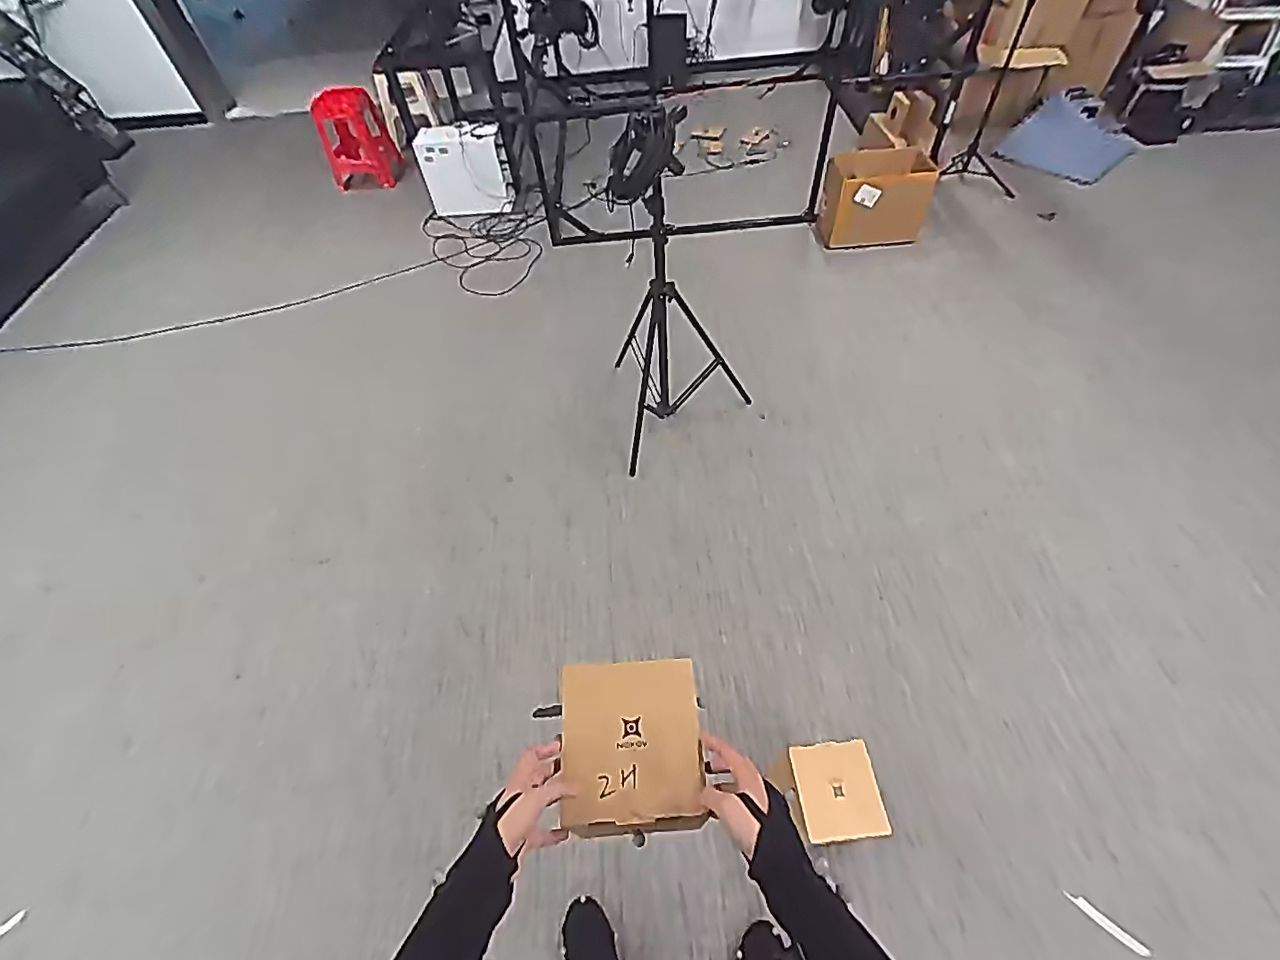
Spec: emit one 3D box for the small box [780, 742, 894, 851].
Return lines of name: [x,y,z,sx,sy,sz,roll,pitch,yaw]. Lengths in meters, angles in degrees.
small box: [0.409,0.679,1.154,0.168,0.176,0.179,-6,52,-1]

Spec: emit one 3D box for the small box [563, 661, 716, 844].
small box: [-0.002,0.347,0.685,0.168,0.176,0.179,-4,53,0]

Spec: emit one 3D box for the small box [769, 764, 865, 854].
small box: [0.415,0.777,1.284,0.168,0.176,0.179,-7,52,-1]
